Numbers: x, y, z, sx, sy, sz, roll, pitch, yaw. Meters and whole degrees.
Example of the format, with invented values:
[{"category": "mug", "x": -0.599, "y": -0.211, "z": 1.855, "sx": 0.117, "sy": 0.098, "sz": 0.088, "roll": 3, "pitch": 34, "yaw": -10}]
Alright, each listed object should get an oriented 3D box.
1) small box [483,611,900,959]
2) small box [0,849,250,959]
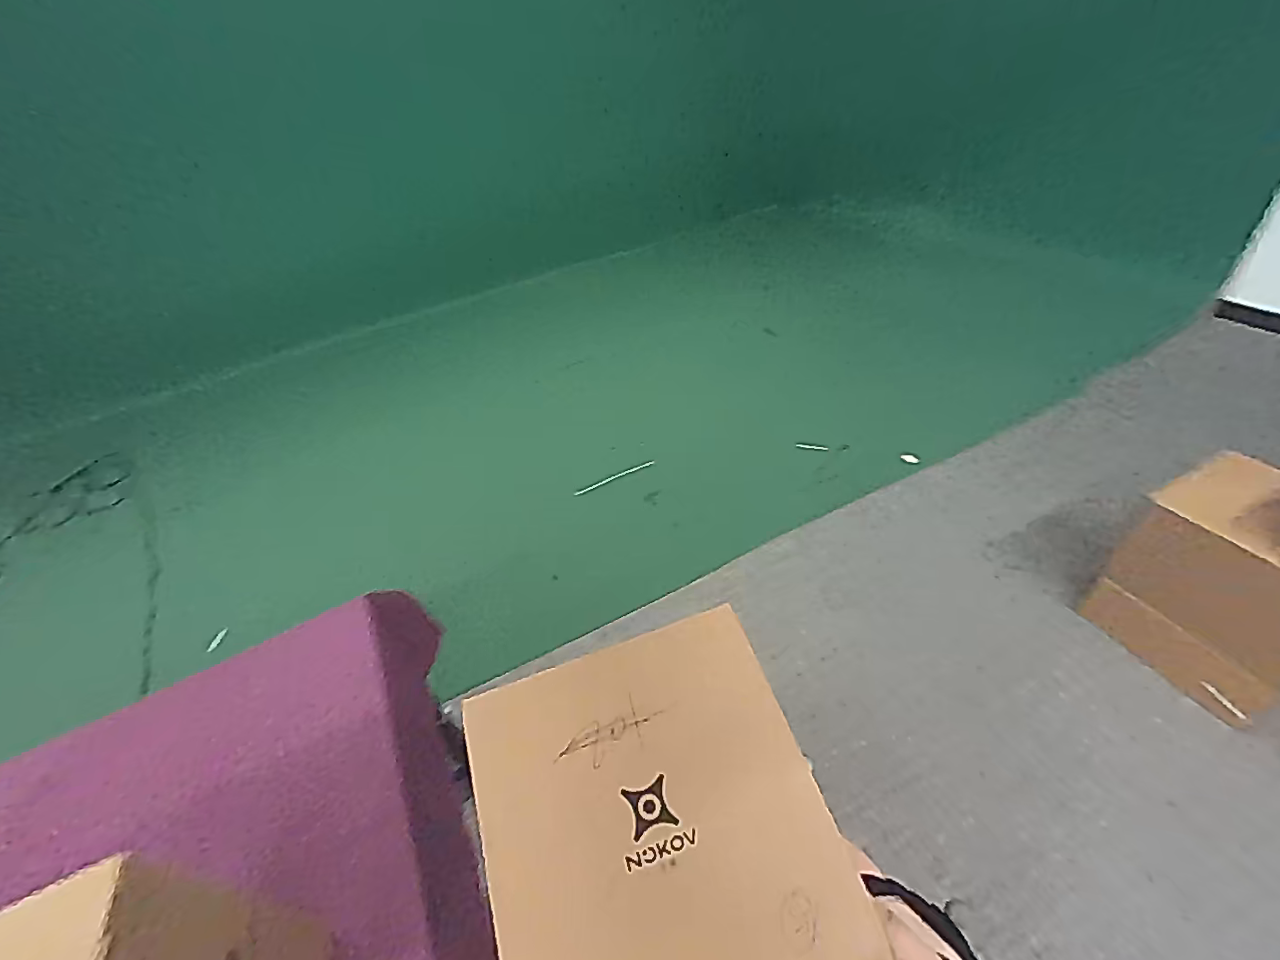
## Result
[{"category": "small box", "x": 0.017, "y": 0.210, "z": 0.334, "sx": 0.168, "sy": 0.176, "sz": 0.179, "roll": -15, "pitch": 57, "yaw": -8}, {"category": "small box", "x": -0.456, "y": 0.438, "z": 0.423, "sx": 0.179, "sy": 0.176, "sz": 0.168, "roll": -22, "pitch": 44, "yaw": -12}]
